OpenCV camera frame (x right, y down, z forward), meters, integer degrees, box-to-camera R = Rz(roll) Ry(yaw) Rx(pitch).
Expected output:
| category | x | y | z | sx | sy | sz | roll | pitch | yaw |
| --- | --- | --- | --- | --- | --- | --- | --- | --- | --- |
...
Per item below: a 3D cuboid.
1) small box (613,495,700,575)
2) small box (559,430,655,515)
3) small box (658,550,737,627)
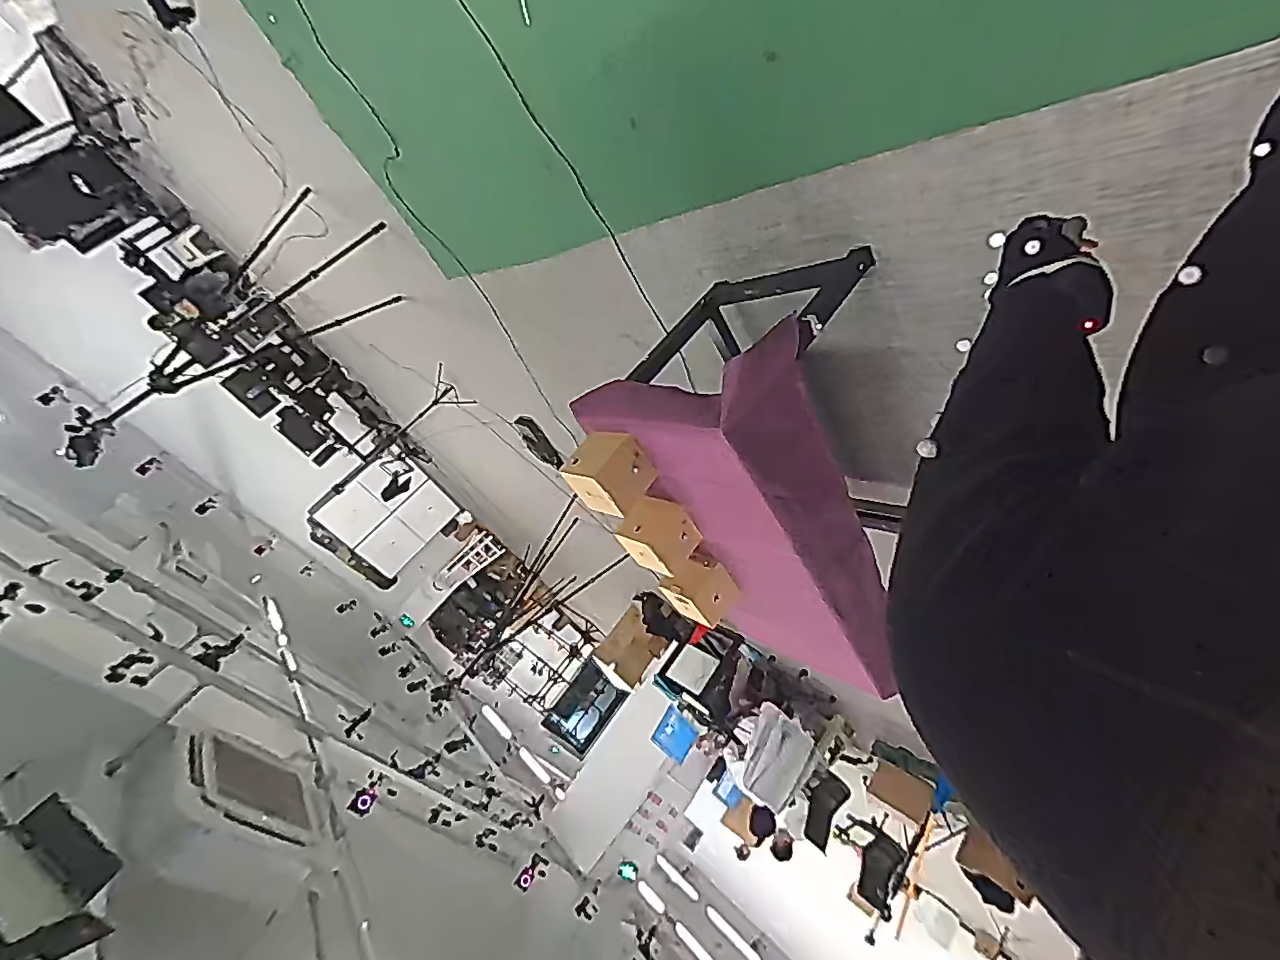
| category | x | y | z | sx | sy | sz | roll | pitch | yaw |
| --- | --- | --- | --- | --- | --- | --- | --- | --- | --- |
| small box | 0.055 | 0.166 | 1.702 | 0.179 | 0.176 | 0.168 | 10 | 144 | 50 |
| small box | -0.090 | -0.028 | 1.543 | 0.179 | 0.176 | 0.168 | 10 | 145 | 48 |
| small box | 0.199 | 0.362 | 1.844 | 0.168 | 0.176 | 0.179 | 13 | 147 | 50 |
